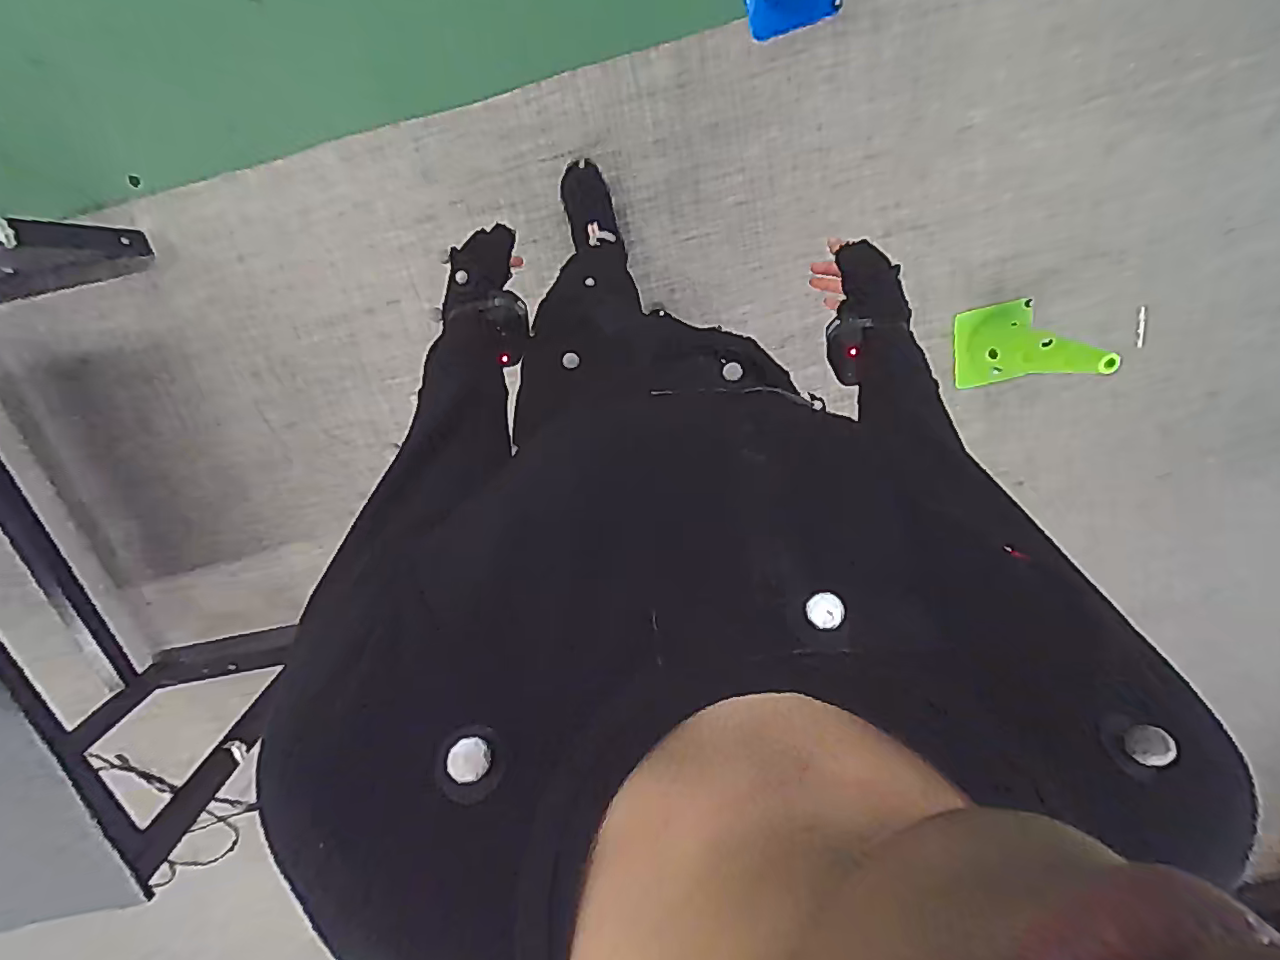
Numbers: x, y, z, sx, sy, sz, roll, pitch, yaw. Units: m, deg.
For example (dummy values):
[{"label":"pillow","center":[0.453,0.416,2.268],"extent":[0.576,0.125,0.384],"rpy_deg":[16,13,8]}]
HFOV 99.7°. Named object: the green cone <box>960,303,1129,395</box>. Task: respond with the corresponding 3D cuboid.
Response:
[{"label":"green cone","center":[0.929,-0.275,1.224],"extent":[0.200,0.368,0.202],"rpy_deg":[-14,110,3]}]
